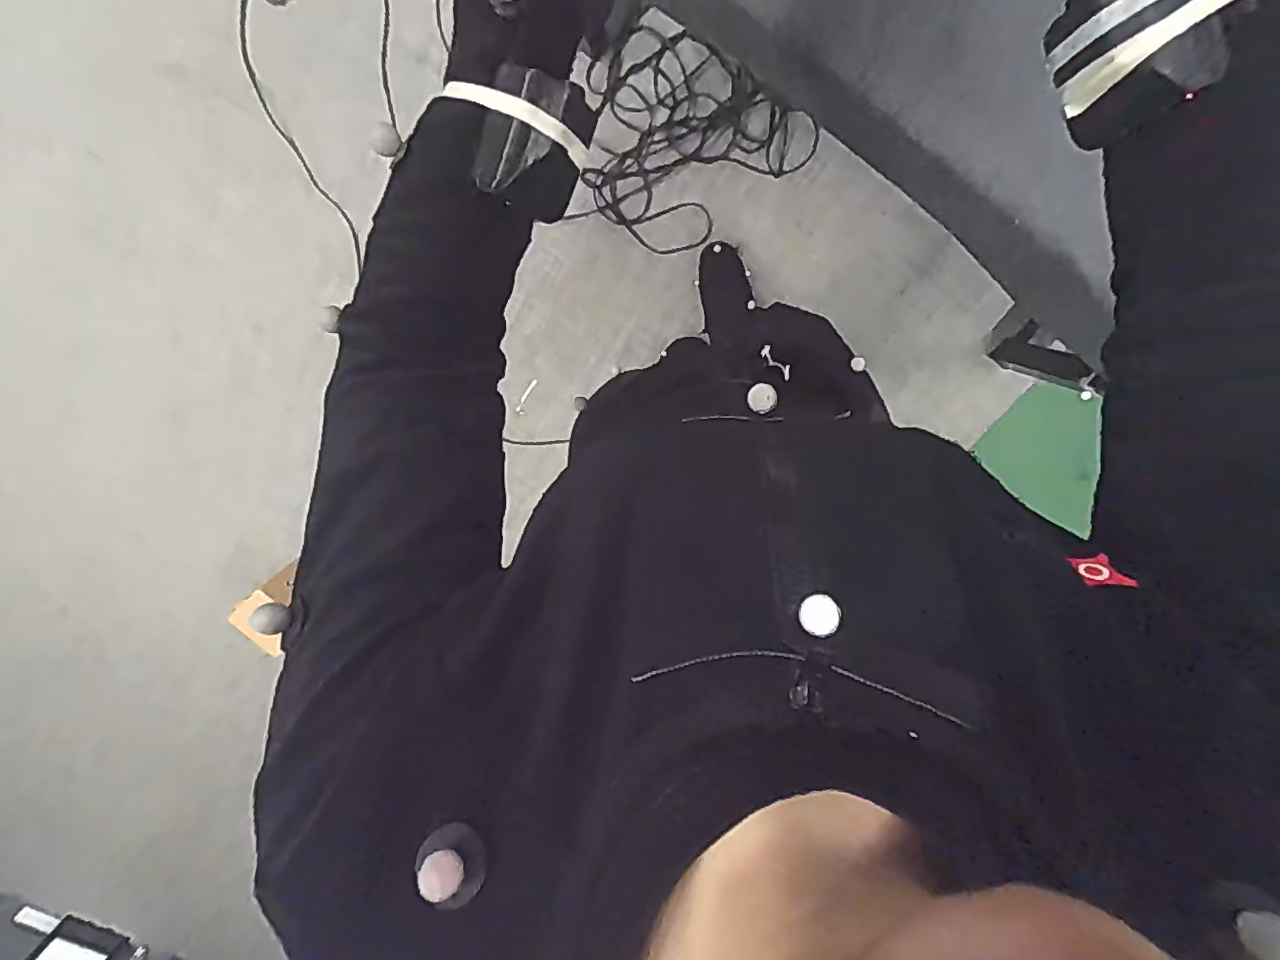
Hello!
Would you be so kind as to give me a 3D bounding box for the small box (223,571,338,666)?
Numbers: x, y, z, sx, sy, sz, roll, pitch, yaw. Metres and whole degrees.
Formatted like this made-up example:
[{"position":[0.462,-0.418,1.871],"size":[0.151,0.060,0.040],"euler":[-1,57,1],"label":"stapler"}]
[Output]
[{"position":[-1.022,0.385,1.549],"size":[0.168,0.176,0.179],"euler":[-38,106,17],"label":"small box"}]
